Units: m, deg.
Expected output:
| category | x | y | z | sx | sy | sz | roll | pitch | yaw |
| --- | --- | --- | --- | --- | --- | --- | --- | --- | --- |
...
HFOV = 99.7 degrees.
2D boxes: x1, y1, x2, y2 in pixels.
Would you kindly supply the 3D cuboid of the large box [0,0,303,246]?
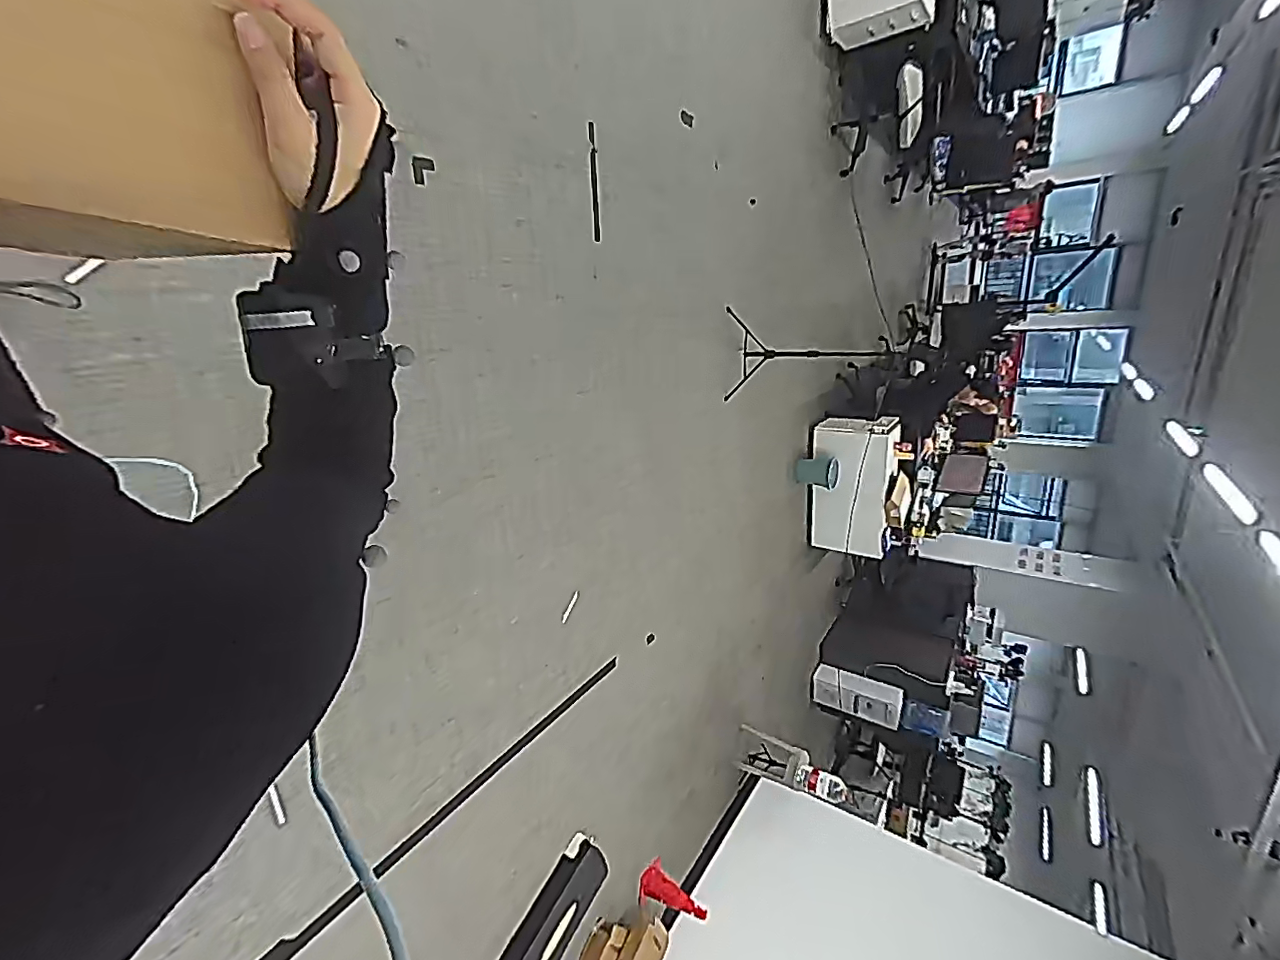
| category | x | y | z | sx | sy | sz | roll | pitch | yaw |
| --- | --- | --- | --- | --- | --- | --- | --- | --- | --- |
| large box | -0.434 | -0.293 | 0.212 | 0.408 | 0.320 | 0.320 | -20 | 118 | -59 |
